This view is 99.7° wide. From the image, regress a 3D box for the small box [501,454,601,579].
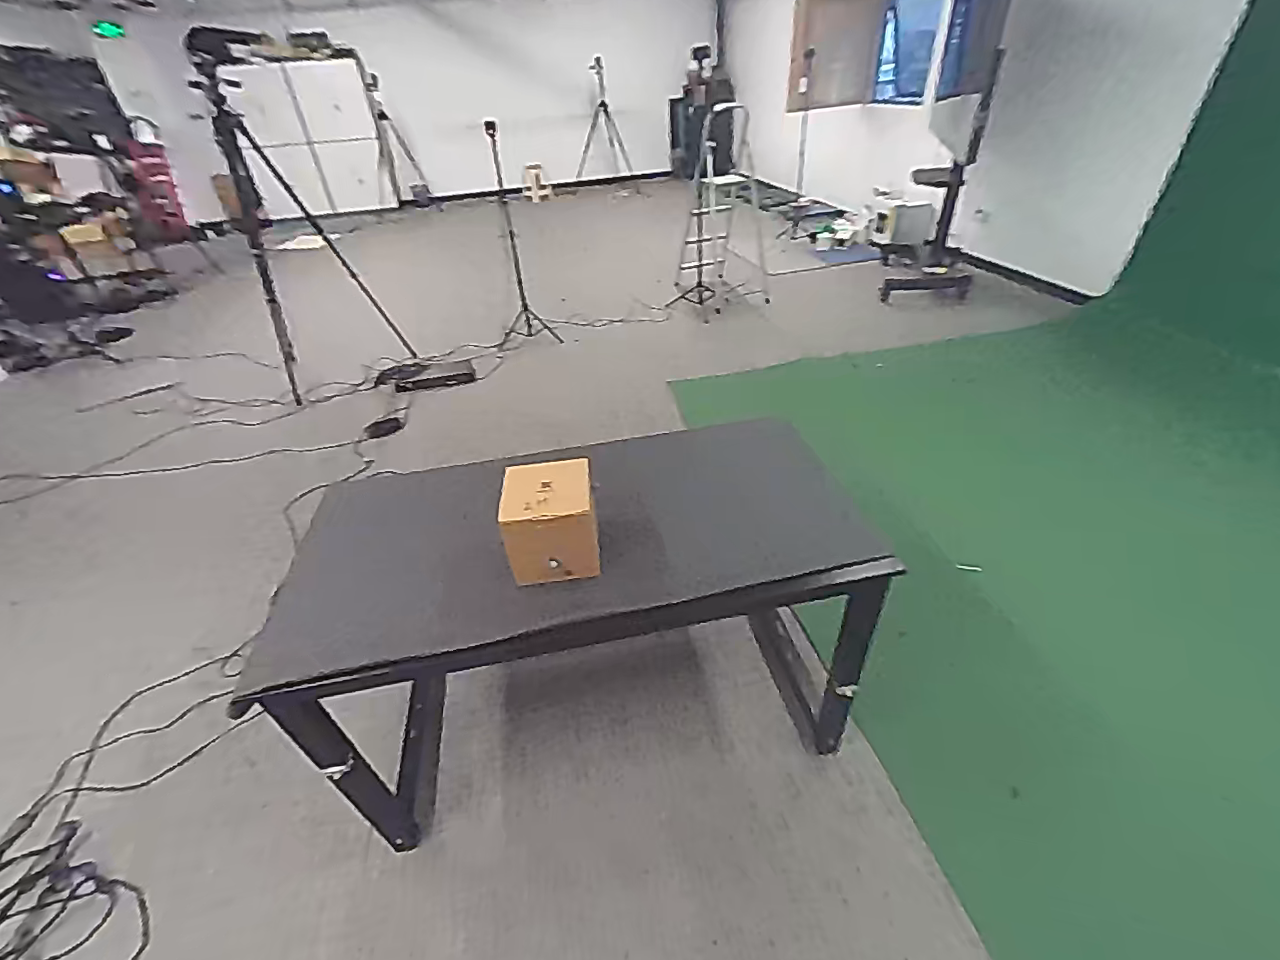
[{"bbox_3d":[-0.169,0.071,1.070,0.168,0.176,0.179,-7,36,-2],"label":"small box"}]
